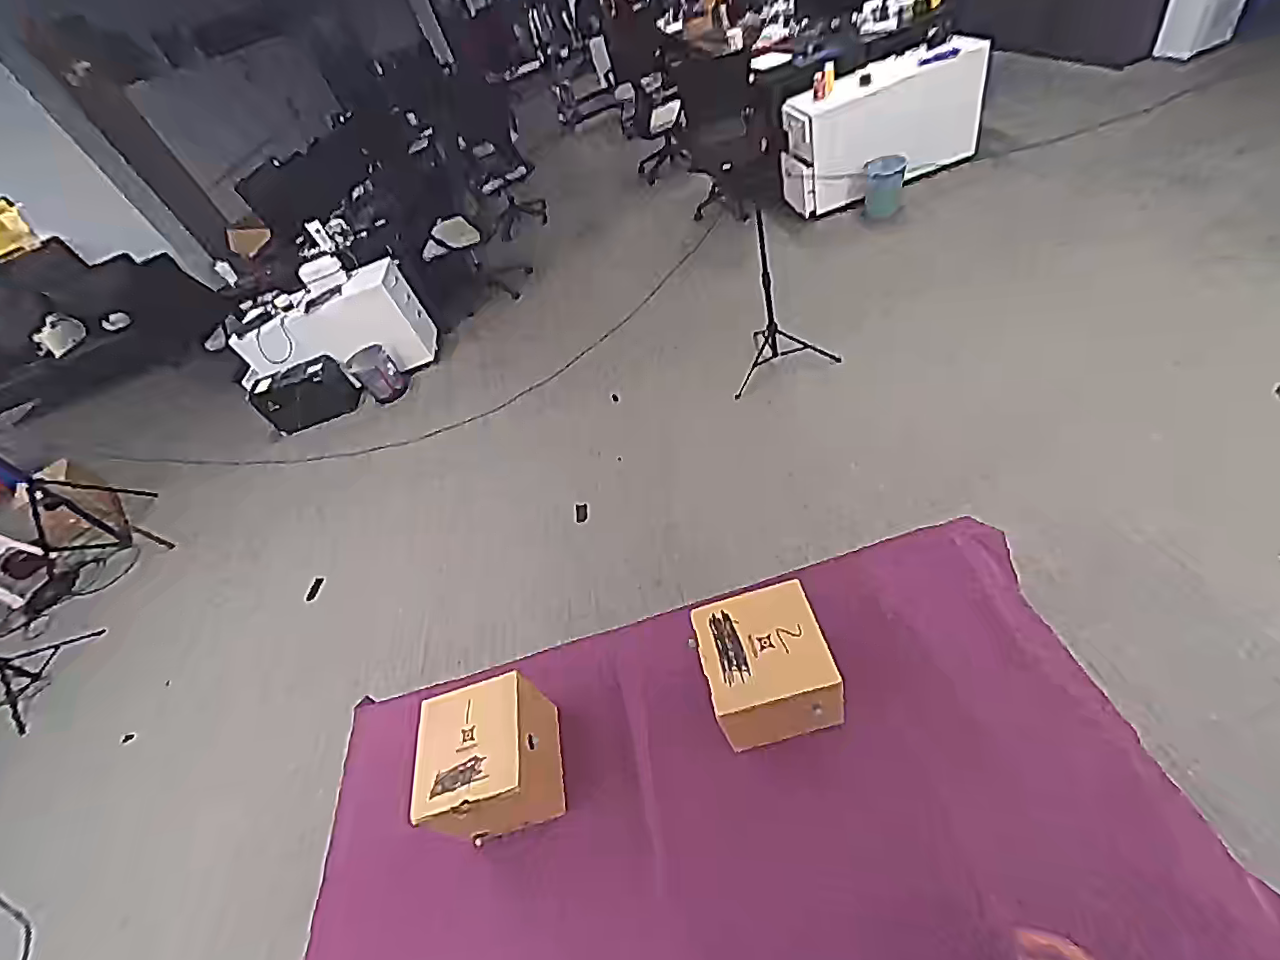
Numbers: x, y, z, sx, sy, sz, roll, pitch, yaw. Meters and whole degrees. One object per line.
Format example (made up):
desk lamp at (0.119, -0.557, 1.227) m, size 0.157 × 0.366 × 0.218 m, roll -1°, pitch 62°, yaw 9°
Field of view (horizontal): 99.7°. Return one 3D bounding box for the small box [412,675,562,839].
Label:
small box at (-0.232, 0.445, 0.857) m, size 0.168 × 0.176 × 0.179 m, roll -19°, pitch 44°, yaw 4°
